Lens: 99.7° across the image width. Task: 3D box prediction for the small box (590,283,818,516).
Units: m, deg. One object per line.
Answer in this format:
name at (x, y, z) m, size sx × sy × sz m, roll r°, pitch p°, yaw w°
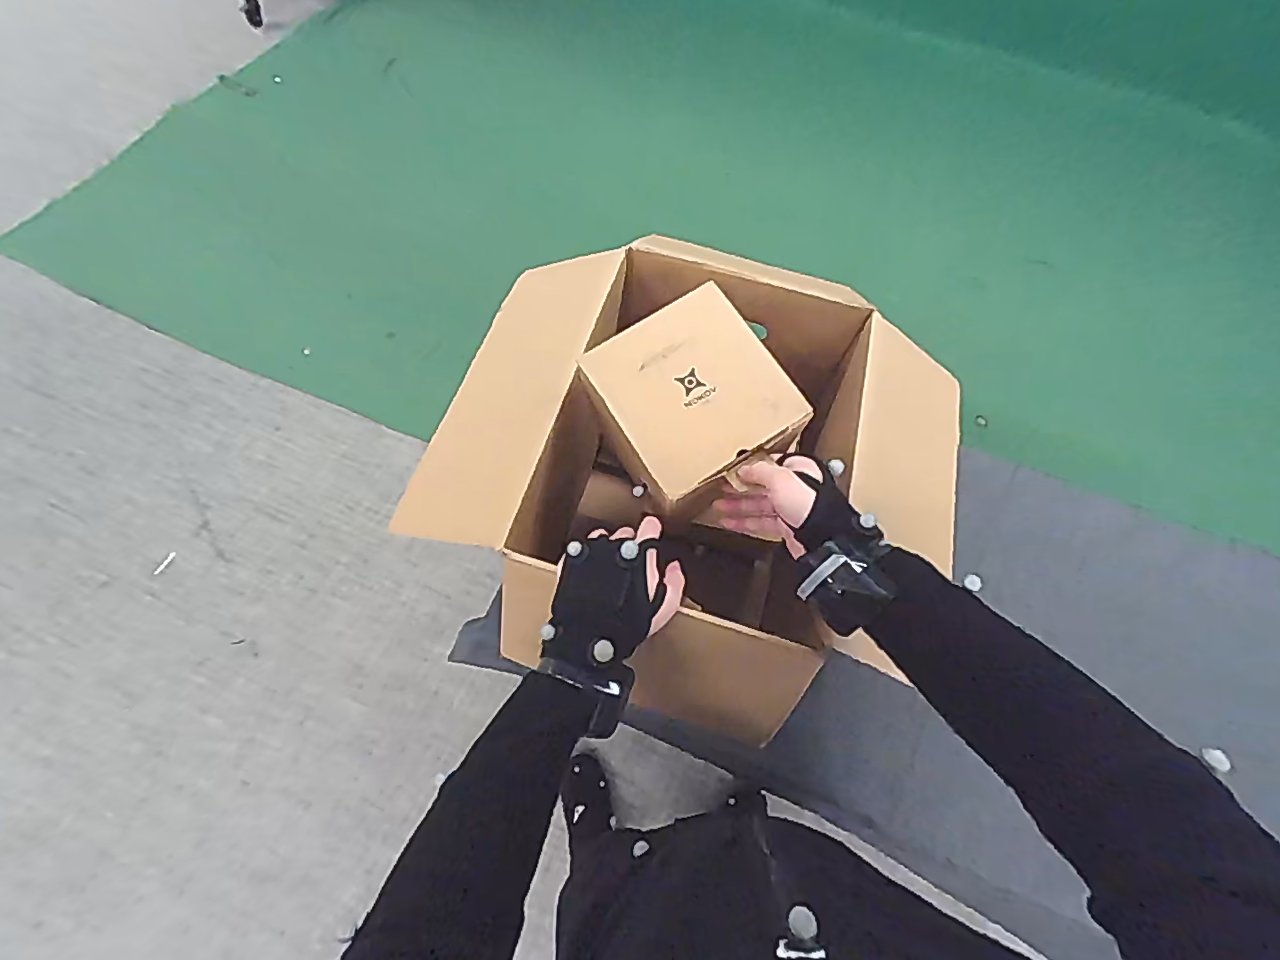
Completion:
small box at (0.065, -0.074, 0.608) m, size 0.168 × 0.176 × 0.179 m, roll -31°, pitch 75°, yaw -6°
